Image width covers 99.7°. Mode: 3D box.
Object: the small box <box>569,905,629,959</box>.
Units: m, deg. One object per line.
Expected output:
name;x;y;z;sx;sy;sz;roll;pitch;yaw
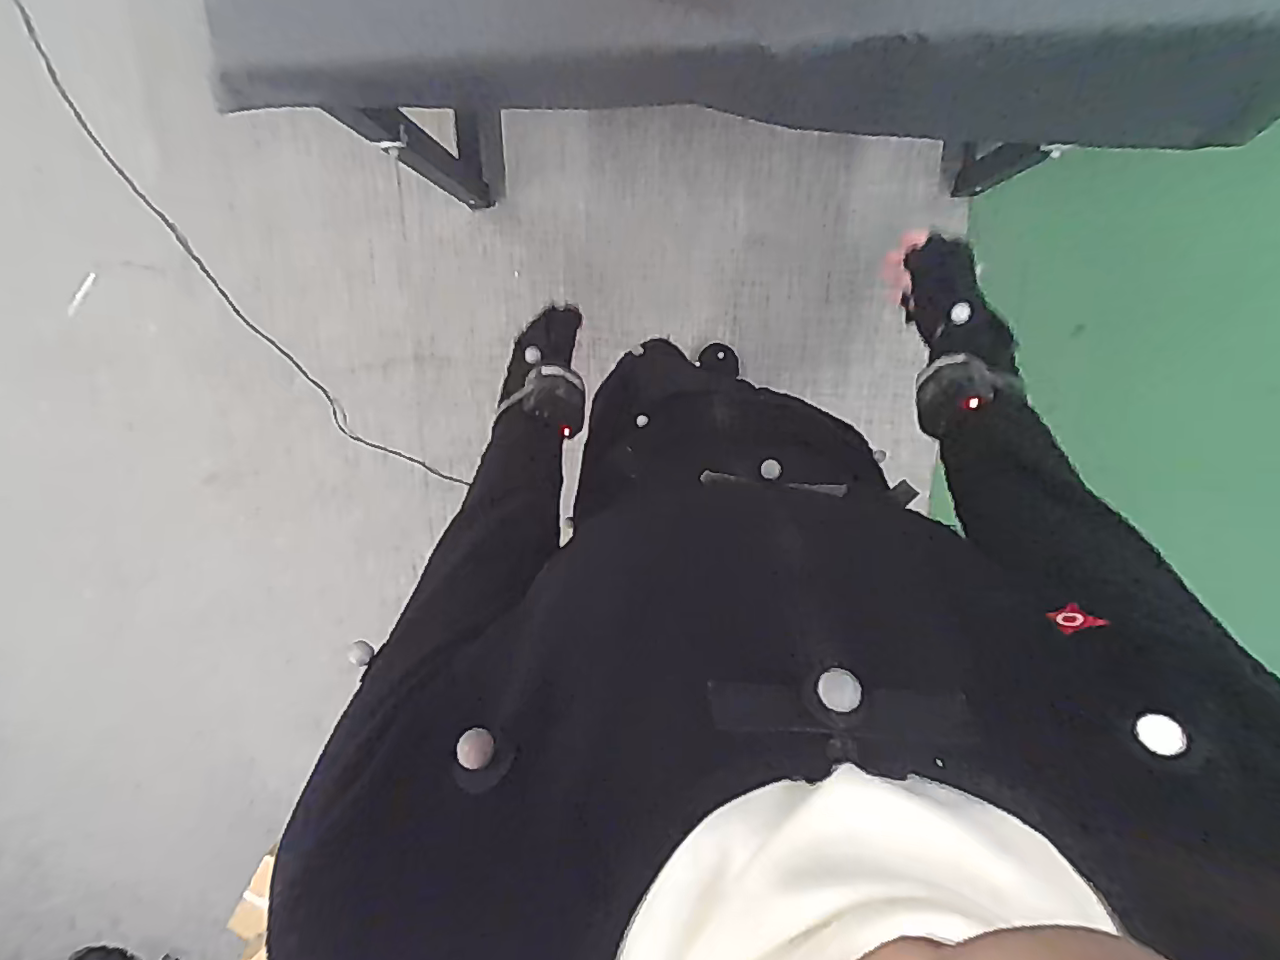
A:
small box;-0.126;1.510;1.736;0.179;0.176;0.168;-2;105;3
